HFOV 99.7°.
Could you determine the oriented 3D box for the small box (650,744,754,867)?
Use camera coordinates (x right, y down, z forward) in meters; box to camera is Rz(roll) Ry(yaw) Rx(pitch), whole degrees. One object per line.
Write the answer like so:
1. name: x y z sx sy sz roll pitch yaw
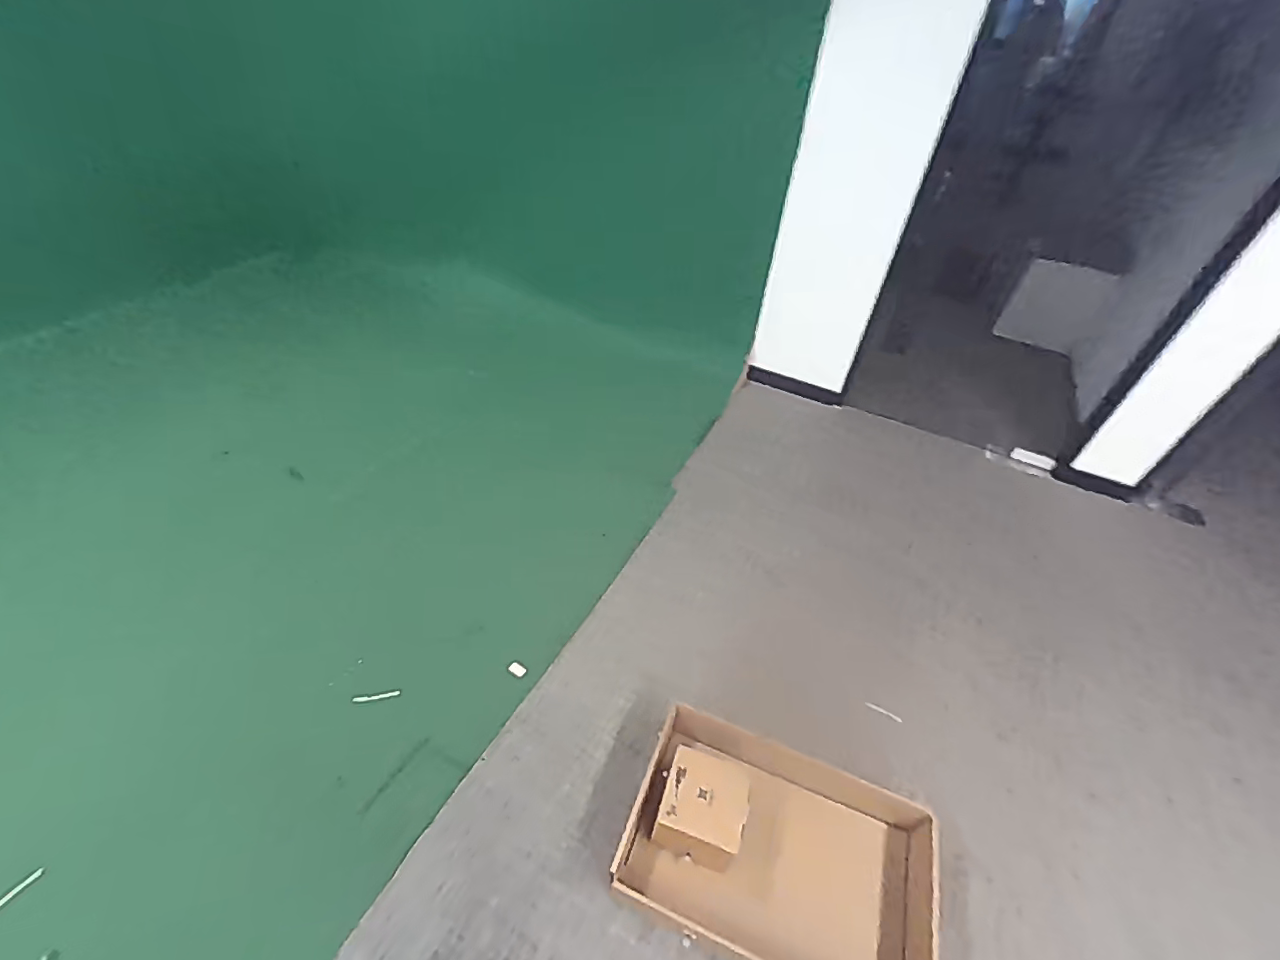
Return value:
1. small box: 0.135 0.730 1.206 0.179 0.176 0.168 18 44 11
